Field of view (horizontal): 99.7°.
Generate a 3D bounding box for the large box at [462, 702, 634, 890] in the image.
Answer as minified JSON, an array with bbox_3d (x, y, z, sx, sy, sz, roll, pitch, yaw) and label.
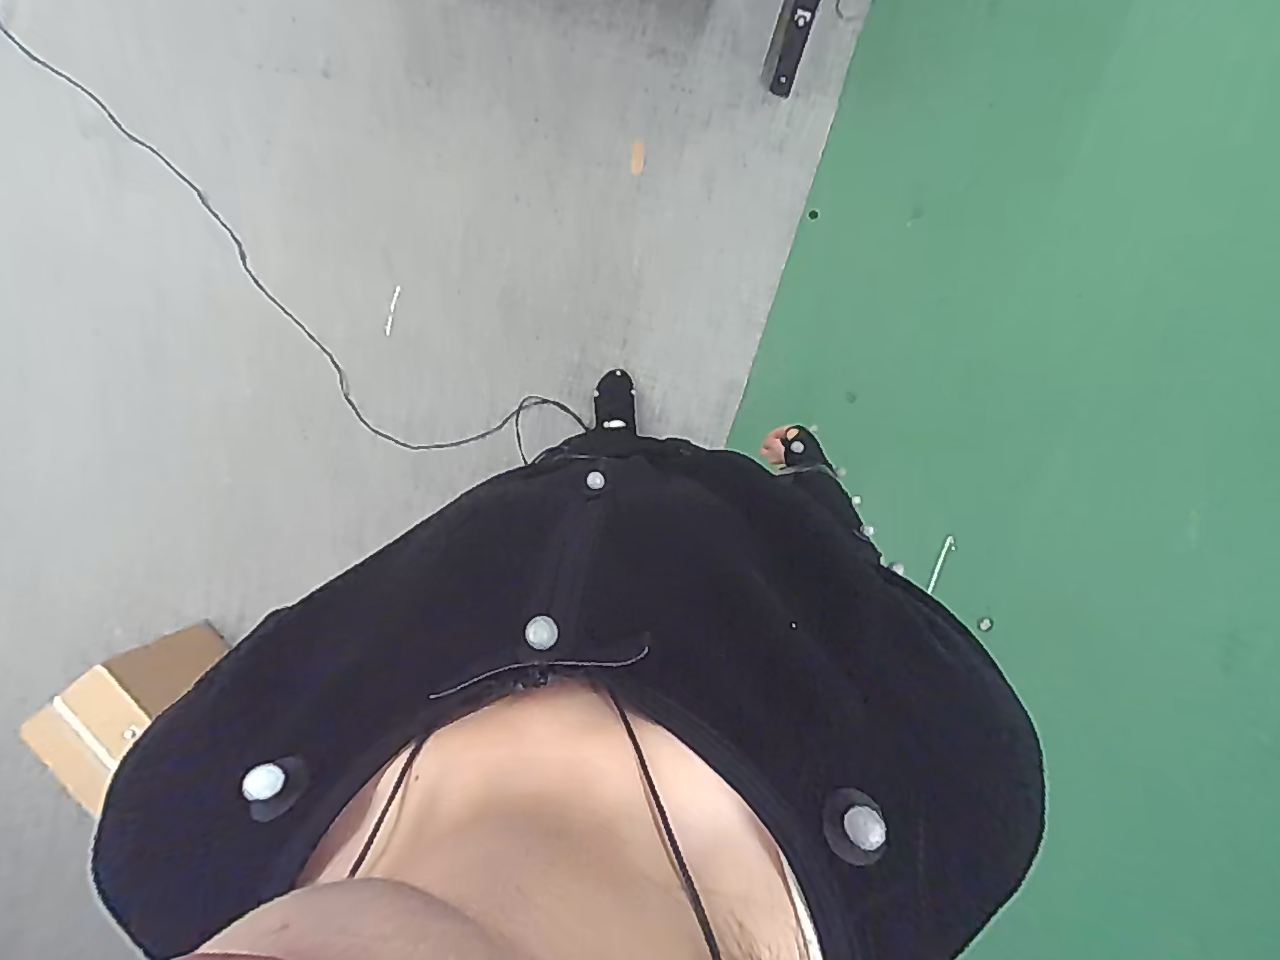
[{"bbox_3d":[-0.227,0.817,1.441,0.408,0.320,0.320,3,96,1],"label":"large box"}]
